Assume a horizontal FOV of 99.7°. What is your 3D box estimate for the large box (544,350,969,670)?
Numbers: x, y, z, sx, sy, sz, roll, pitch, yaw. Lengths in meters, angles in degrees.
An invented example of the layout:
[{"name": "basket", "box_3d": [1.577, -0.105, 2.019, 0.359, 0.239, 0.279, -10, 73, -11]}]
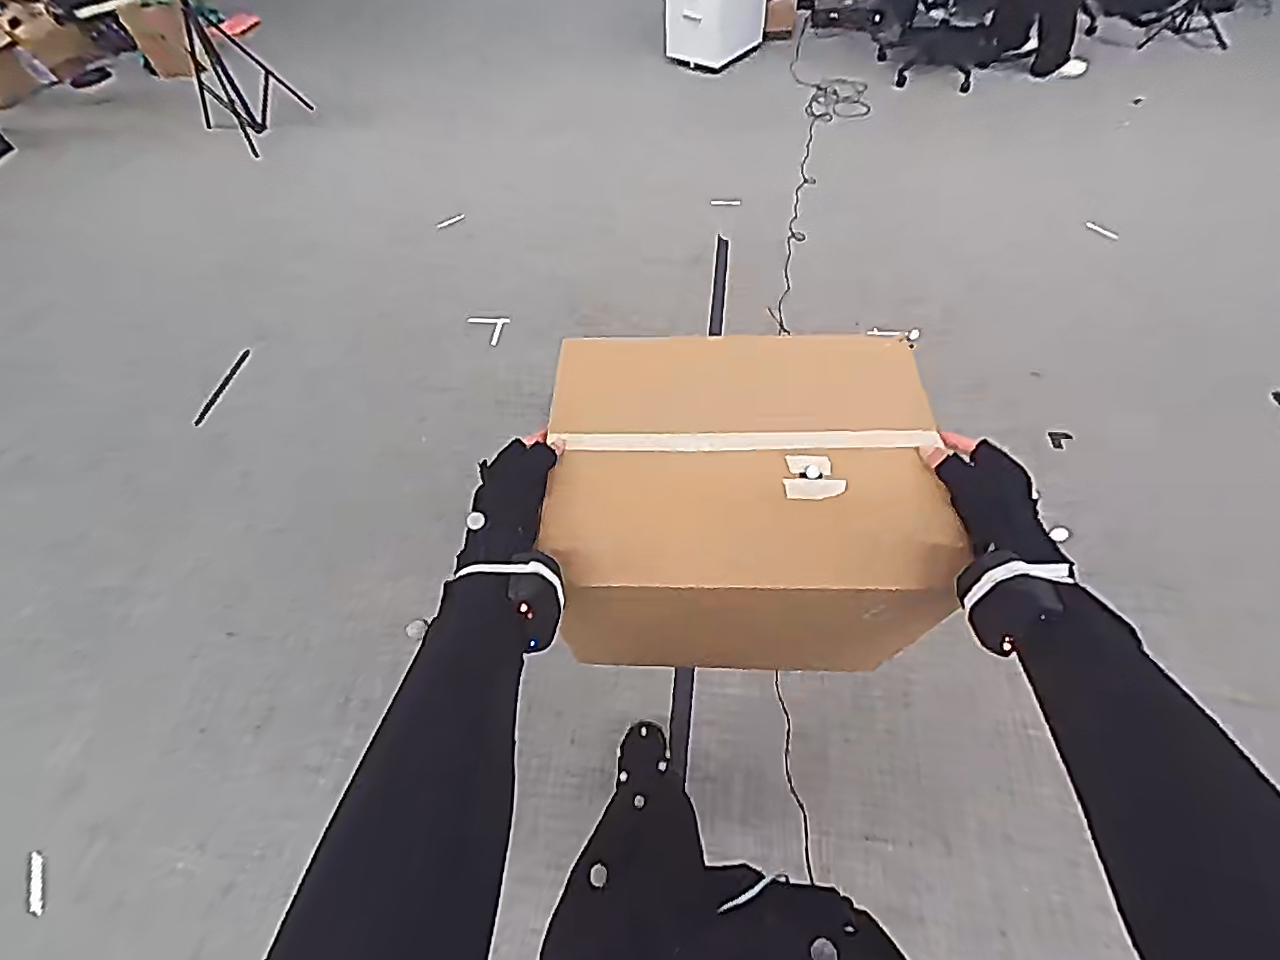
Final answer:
[{"name": "large box", "box_3d": [0.112, 0.053, 0.705, 0.408, 0.320, 0.320, 0, 58, 3]}]
